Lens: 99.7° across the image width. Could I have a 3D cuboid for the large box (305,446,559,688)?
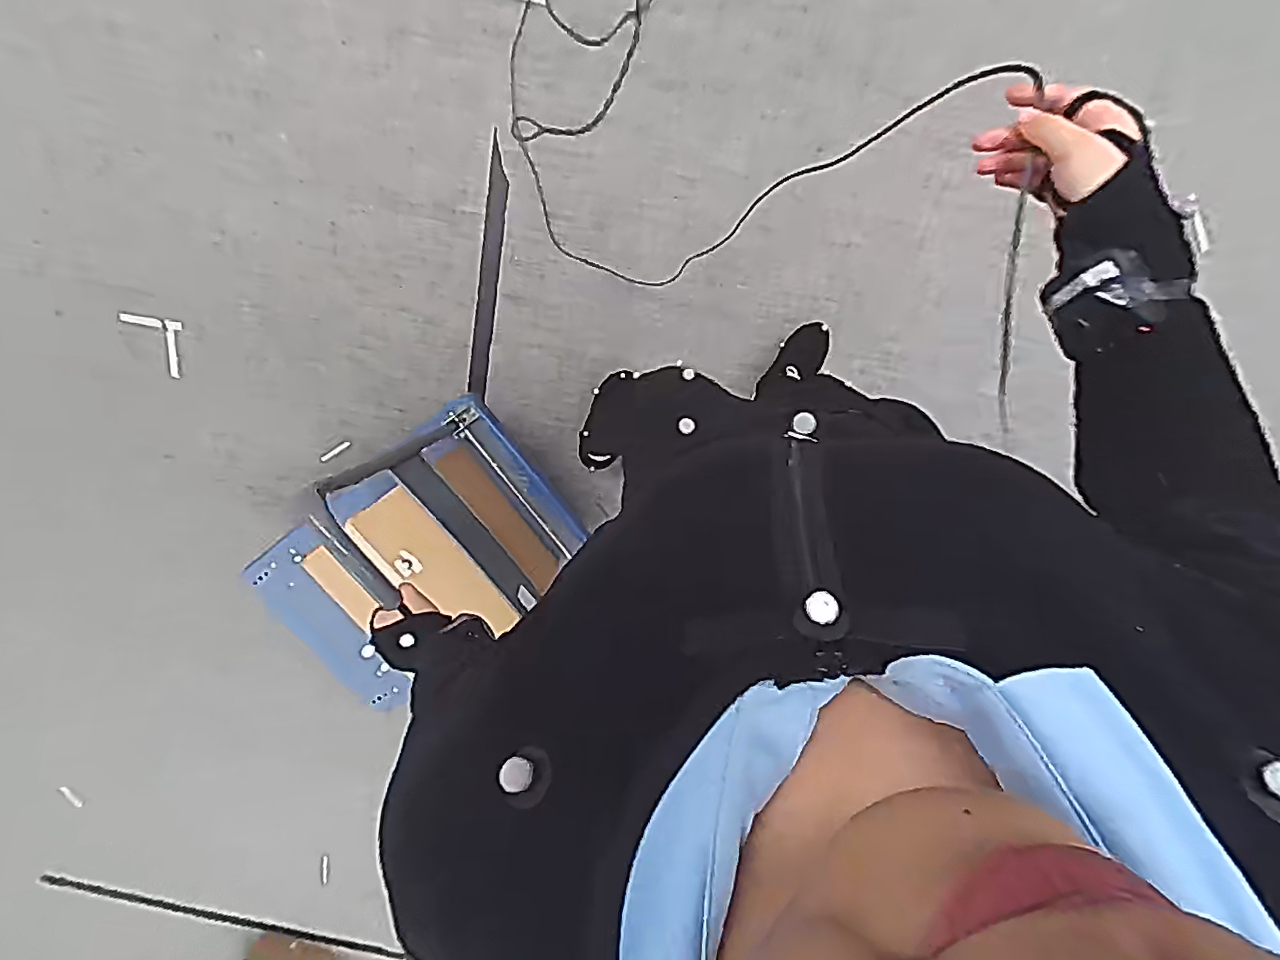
[{"bbox_3d":[-0.457,0.192,1.281,0.320,0.320,0.408,-34,102,13],"label":"large box"}]
